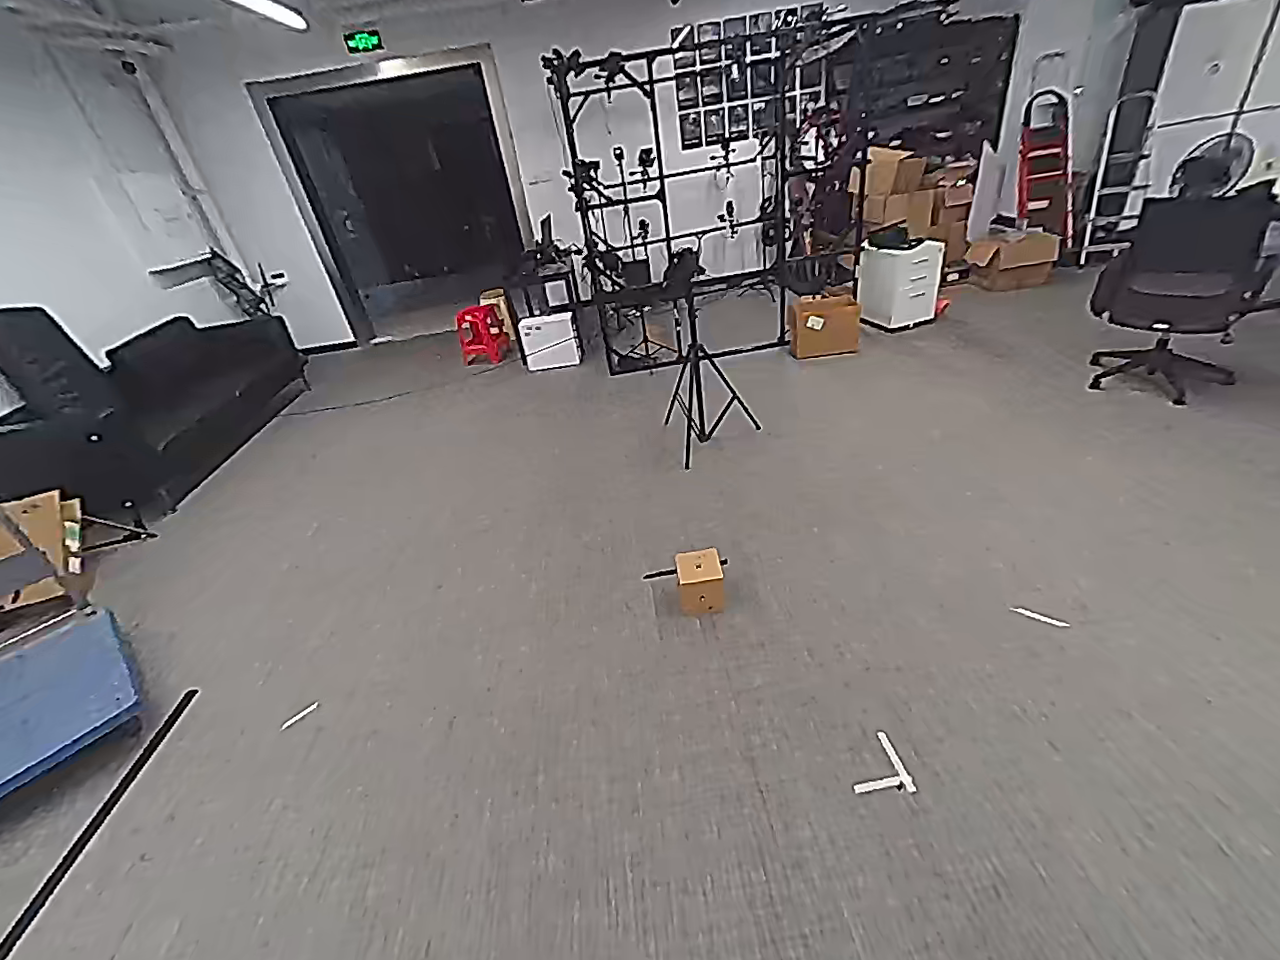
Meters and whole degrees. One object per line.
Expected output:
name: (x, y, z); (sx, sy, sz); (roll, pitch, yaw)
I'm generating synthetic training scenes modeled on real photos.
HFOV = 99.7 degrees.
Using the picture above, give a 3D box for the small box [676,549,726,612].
small box: (0.237, 0.396, 2.105); (0.168, 0.176, 0.179); (-8, 31, 2)
